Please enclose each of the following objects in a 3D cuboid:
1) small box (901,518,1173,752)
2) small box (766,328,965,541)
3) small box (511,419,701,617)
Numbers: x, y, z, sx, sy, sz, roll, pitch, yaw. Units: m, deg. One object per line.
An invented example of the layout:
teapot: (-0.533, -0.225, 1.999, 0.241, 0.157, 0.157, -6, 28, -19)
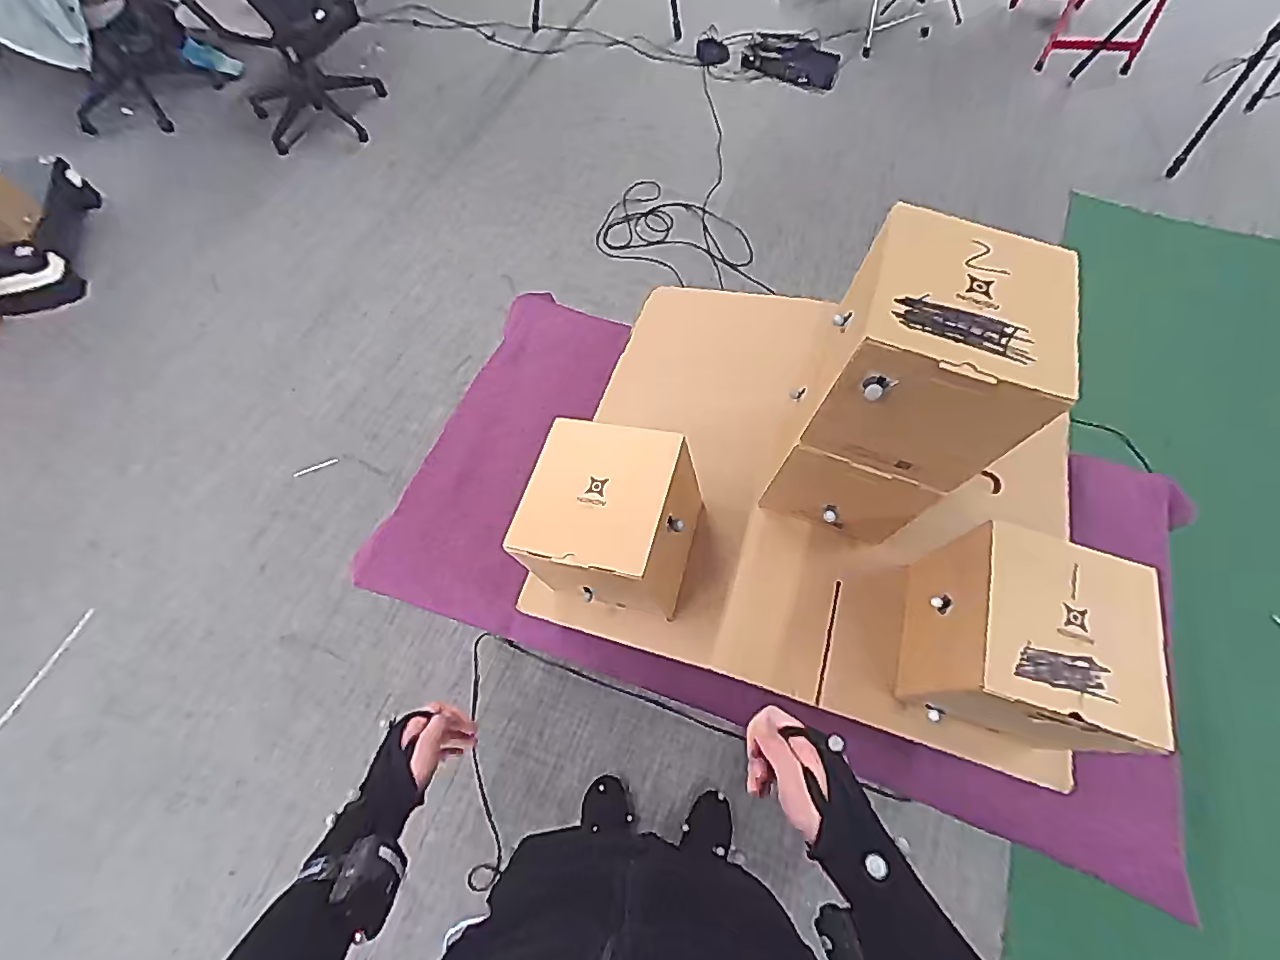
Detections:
small box: (0.404, 0.170, 0.579, 0.168, 0.176, 0.179, 18, 65, 5)
small box: (0.268, -0.049, 0.671, 0.168, 0.176, 0.179, 19, 66, 6)
small box: (-0.026, 0.050, 0.664, 0.168, 0.176, 0.179, 9, 66, 18)
